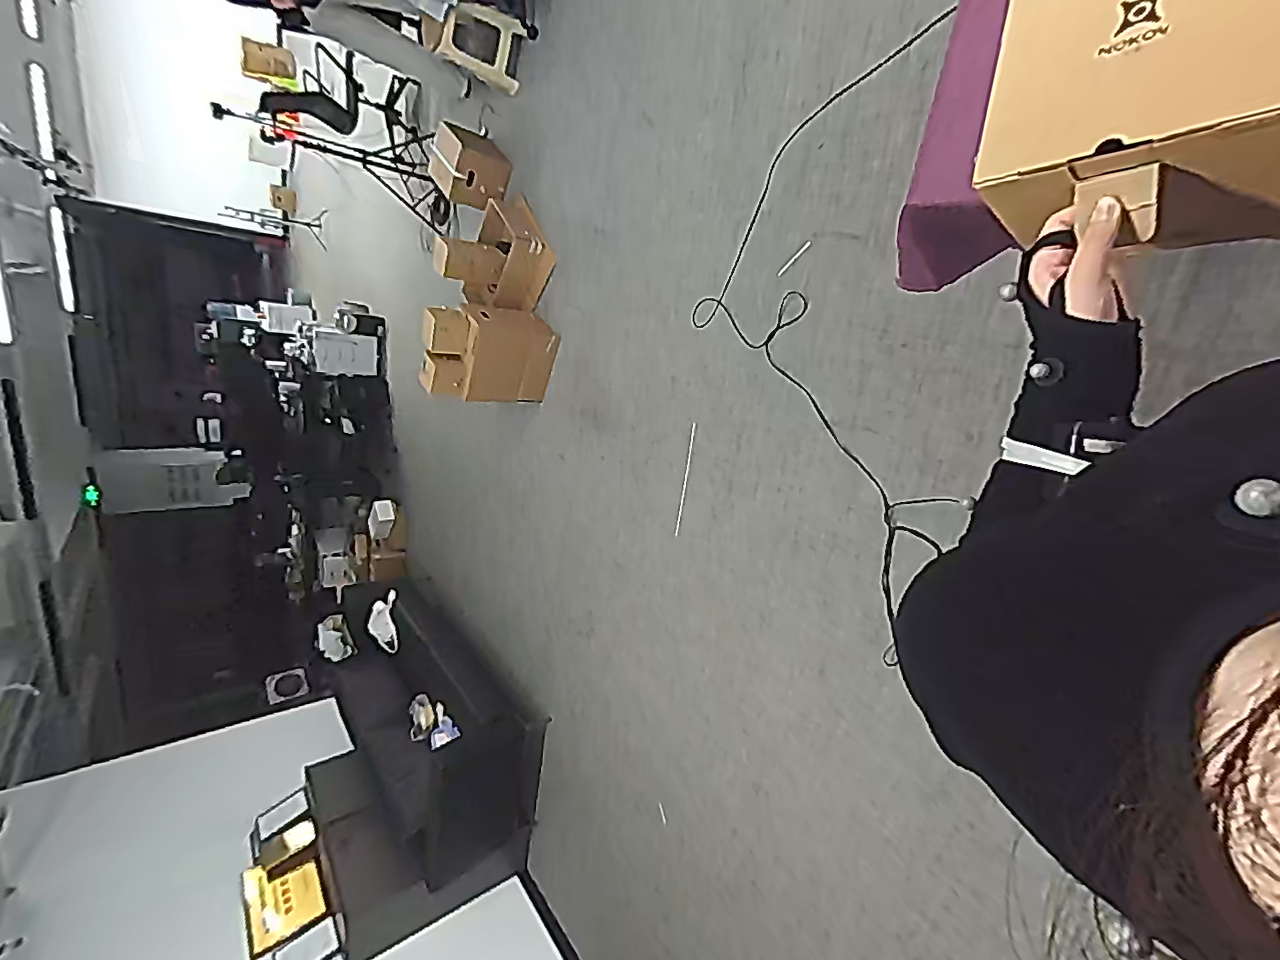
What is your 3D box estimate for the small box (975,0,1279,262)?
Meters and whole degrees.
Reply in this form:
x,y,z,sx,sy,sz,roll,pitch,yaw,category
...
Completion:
x,y,z,sx,sy,sz,roll,pitch,yaw,category
0.396,-0.295,0.419,0.168,0.176,0.179,14,95,51,small box
